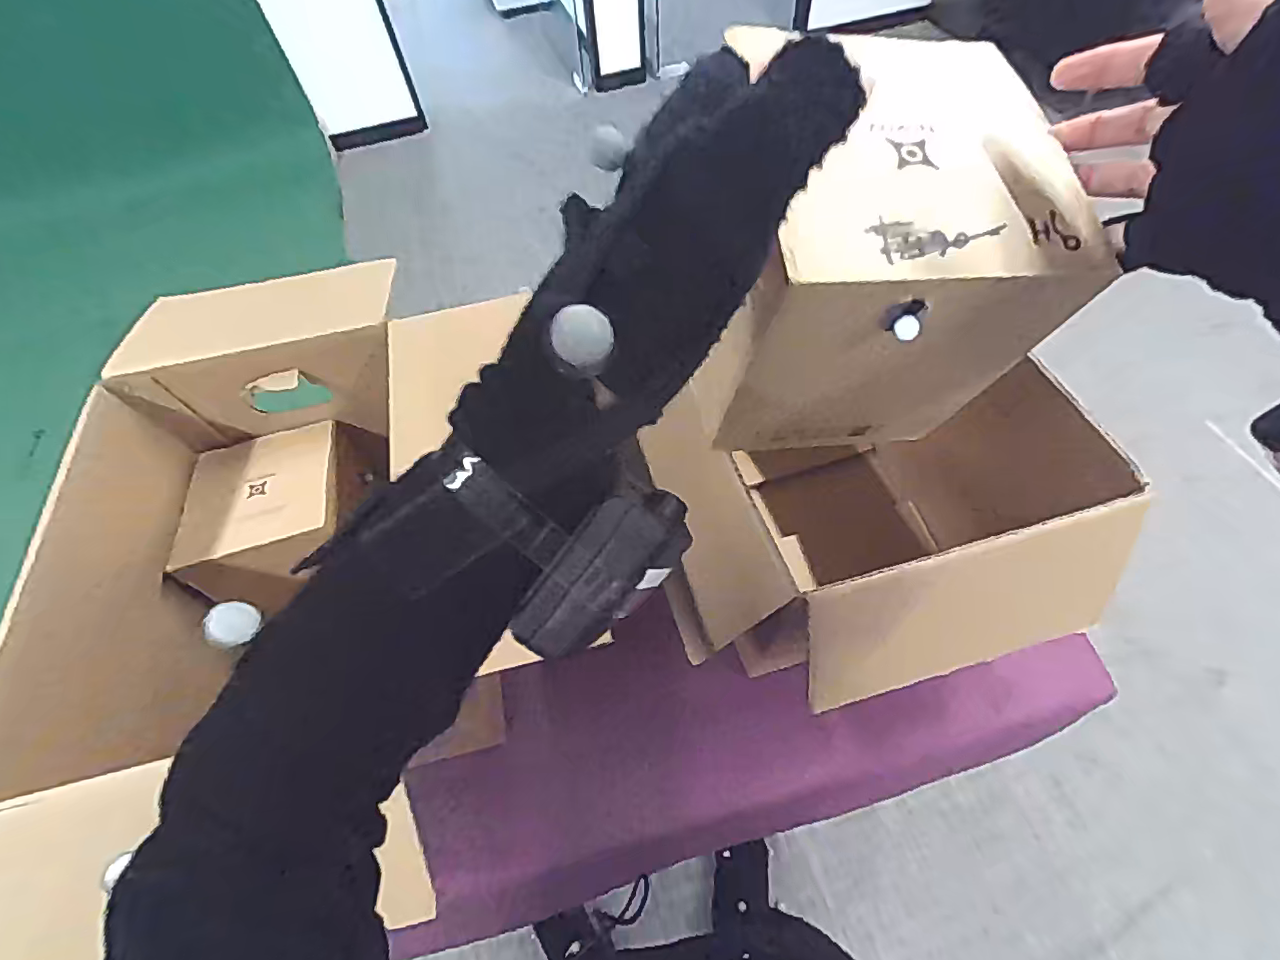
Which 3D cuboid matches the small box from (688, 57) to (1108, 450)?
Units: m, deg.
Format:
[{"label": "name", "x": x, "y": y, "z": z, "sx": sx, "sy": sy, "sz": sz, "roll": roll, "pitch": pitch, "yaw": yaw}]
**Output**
[{"label": "small box", "x": 0.133, "y": -0.137, "z": 0.360, "sx": 0.168, "sy": 0.176, "sz": 0.179, "roll": -4, "pitch": 66, "yaw": -6}]
